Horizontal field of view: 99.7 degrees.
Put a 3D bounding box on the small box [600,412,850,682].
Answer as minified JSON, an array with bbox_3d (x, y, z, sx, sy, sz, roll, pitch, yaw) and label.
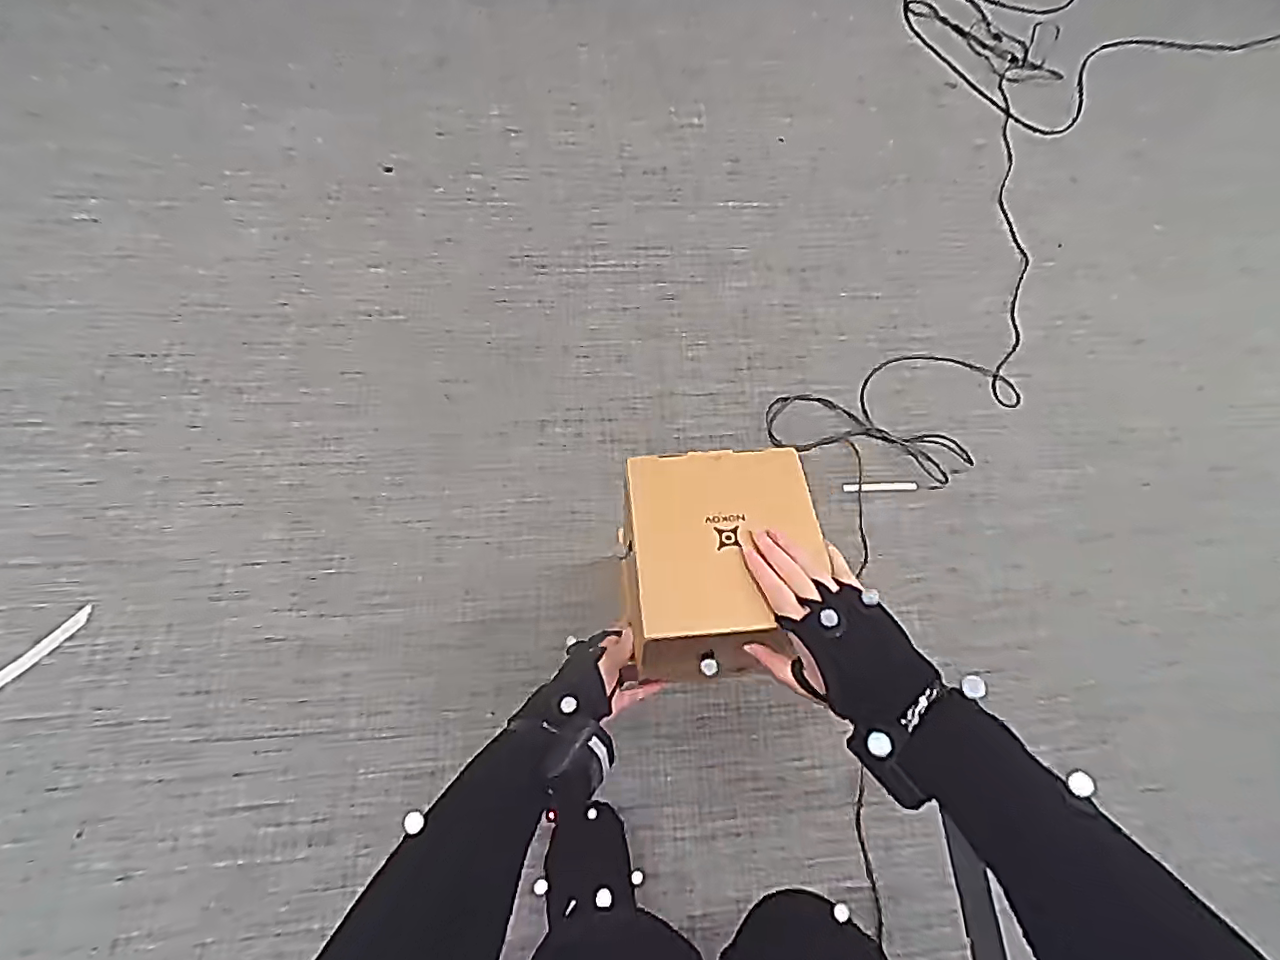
[{"bbox_3d":[0.077,0.058,0.516,0.179,0.176,0.168,-19,38,7],"label":"small box"}]
